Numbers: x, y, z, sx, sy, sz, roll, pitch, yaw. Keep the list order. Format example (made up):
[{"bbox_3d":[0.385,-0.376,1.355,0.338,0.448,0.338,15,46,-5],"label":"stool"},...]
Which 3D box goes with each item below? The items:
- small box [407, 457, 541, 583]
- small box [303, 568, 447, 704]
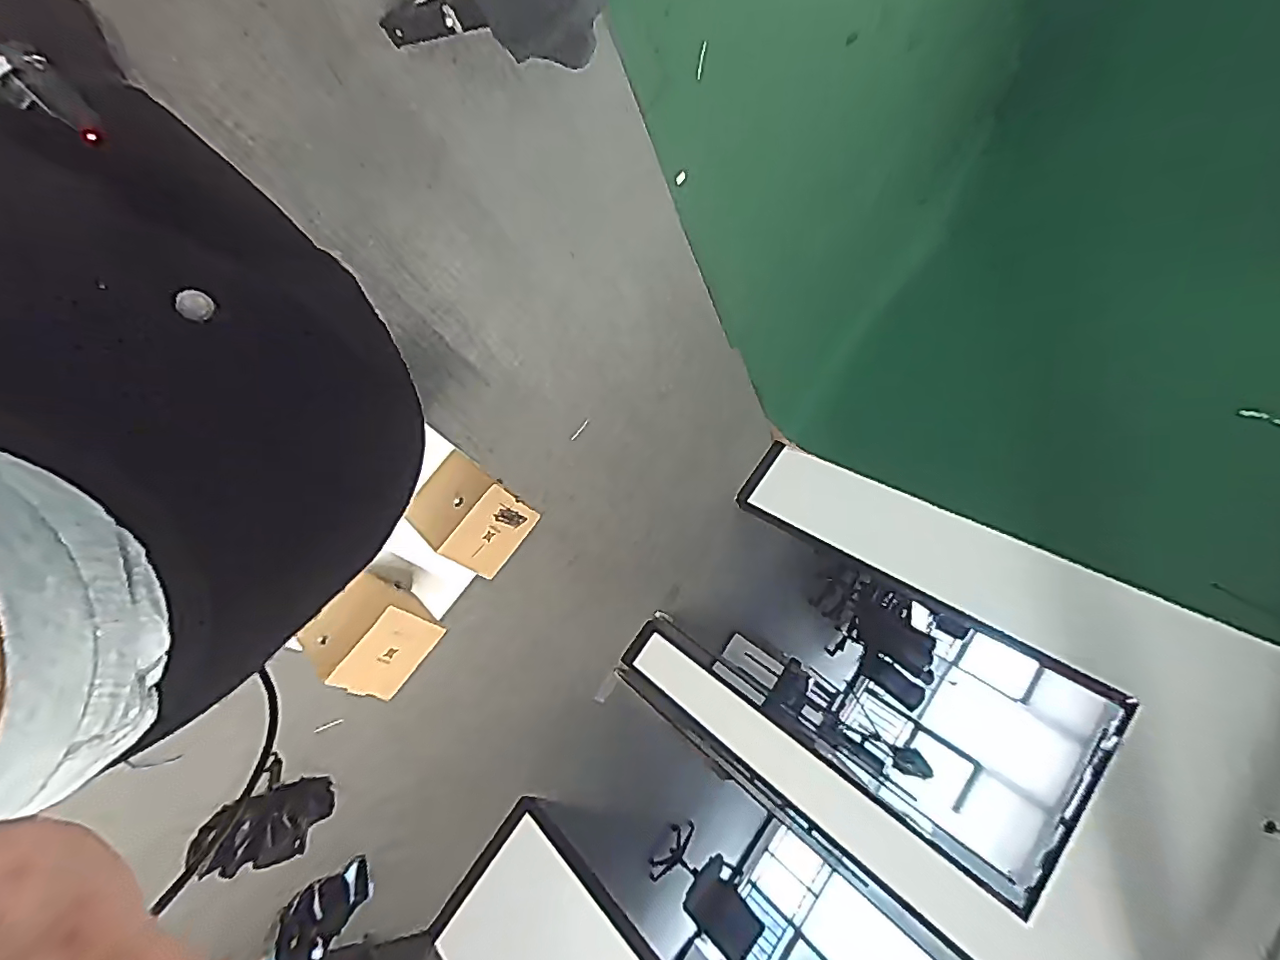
[{"bbox_3d":[-0.349,0.080,1.134,0.179,0.176,0.168,-52,142,-8],"label":"small box"},{"bbox_3d":[-0.533,0.308,1.078,0.179,0.176,0.168,-53,144,-12],"label":"small box"}]
